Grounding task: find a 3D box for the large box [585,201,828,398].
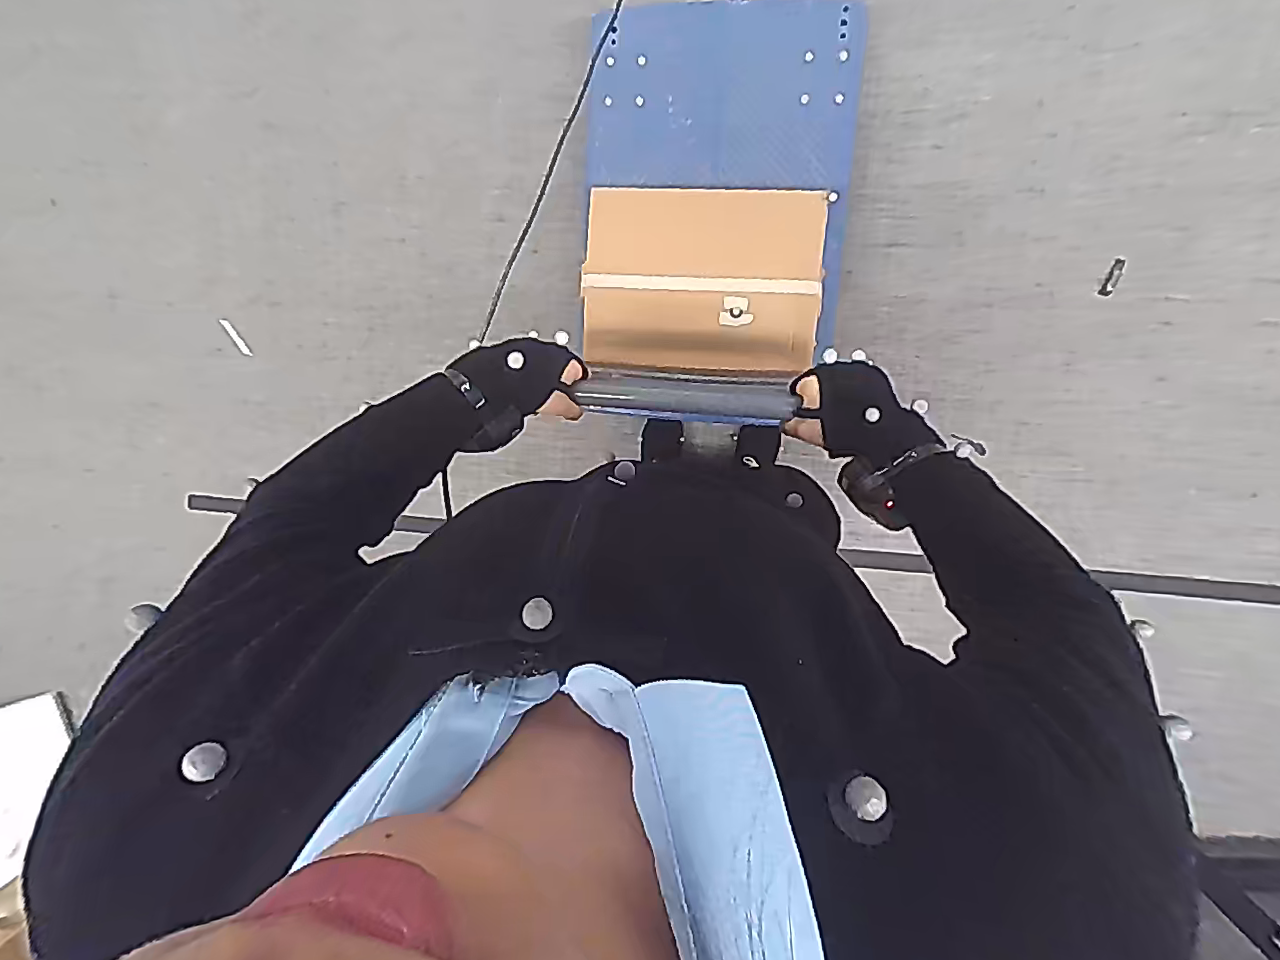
[{"bbox_3d":[0.121,-0.331,1.073,0.408,0.320,0.320,5,98,7],"label":"large box"}]
